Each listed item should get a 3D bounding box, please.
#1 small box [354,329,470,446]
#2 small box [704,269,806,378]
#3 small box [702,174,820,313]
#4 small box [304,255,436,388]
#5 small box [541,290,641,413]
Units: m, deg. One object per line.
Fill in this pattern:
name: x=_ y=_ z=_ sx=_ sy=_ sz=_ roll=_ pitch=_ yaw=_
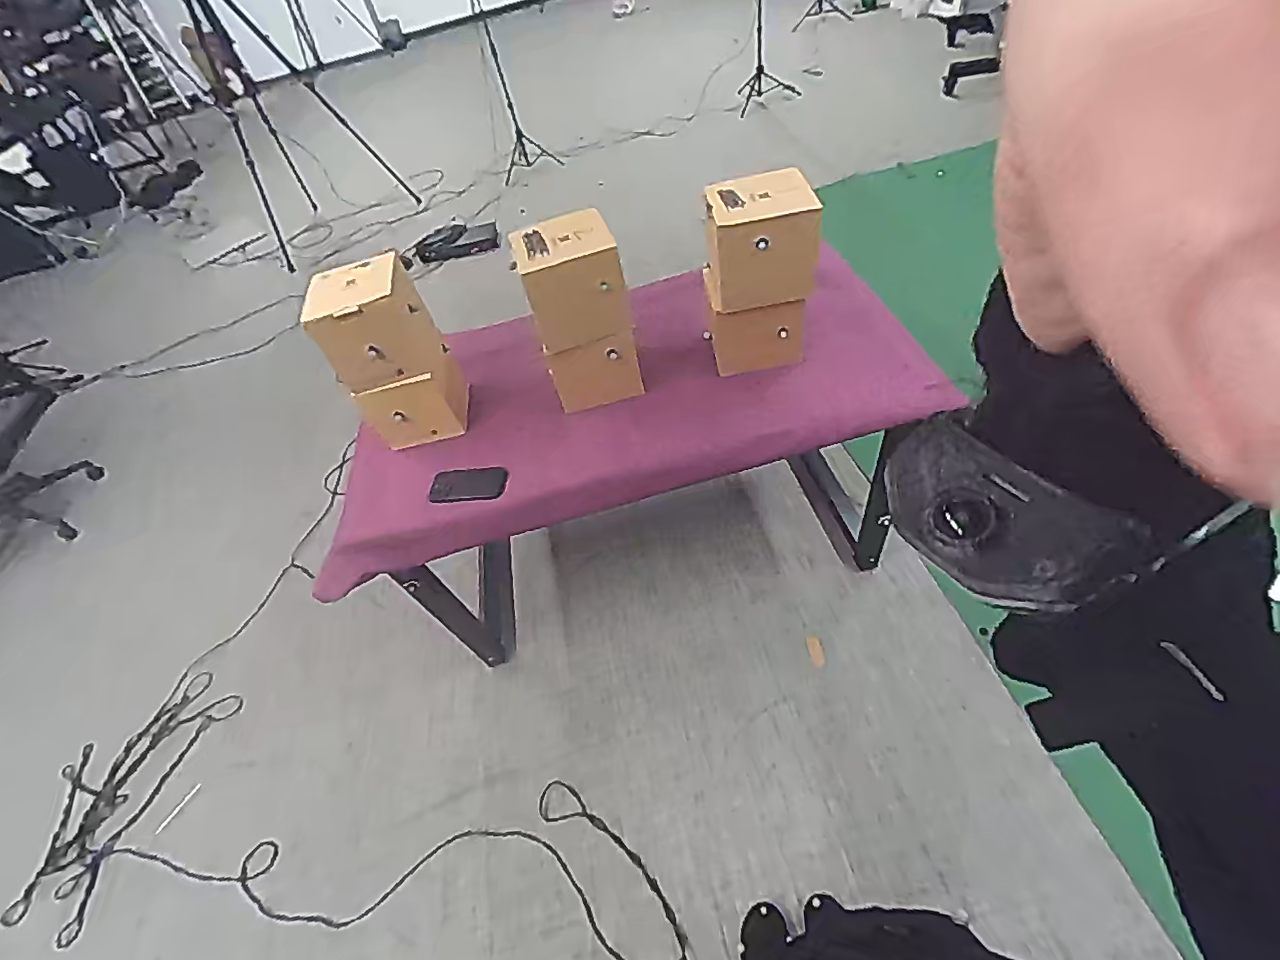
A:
small box: x=-0.481 y=-0.191 z=1.169 sx=0.168 sy=0.176 sz=0.179 roll=-13 pitch=50 yaw=2
small box: x=0.235 y=-0.337 z=1.130 sx=0.179 sy=0.176 sz=0.168 roll=-9 pitch=50 yaw=6
small box: x=0.218 y=-0.430 z=0.995 sx=0.179 sy=0.176 sz=0.168 roll=-9 pitch=50 yaw=5
small box: x=-0.510 y=-0.300 z=1.049 sx=0.168 sy=0.176 sz=0.179 roll=-17 pitch=50 yaw=-2
small box: x=-0.099 y=-0.268 z=1.146 sx=0.179 sy=0.176 sz=0.168 roll=-14 pitch=50 yaw=1
